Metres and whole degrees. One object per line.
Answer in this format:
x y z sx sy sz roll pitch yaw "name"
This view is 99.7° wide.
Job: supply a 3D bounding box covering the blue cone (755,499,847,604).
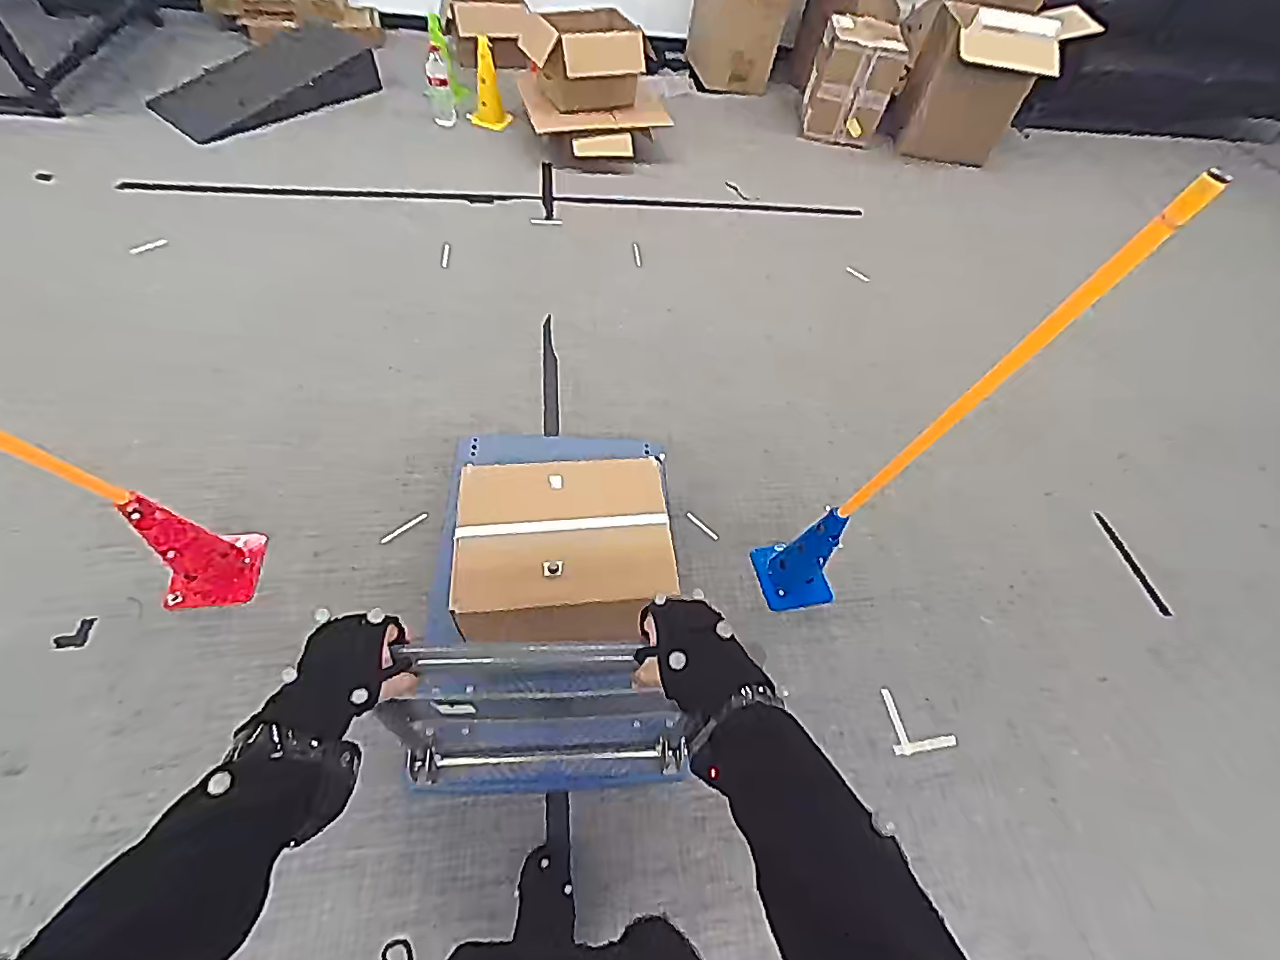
0.462 0.174 1.441 0.193 0.380 0.192 -5 56 -12 "blue cone"
